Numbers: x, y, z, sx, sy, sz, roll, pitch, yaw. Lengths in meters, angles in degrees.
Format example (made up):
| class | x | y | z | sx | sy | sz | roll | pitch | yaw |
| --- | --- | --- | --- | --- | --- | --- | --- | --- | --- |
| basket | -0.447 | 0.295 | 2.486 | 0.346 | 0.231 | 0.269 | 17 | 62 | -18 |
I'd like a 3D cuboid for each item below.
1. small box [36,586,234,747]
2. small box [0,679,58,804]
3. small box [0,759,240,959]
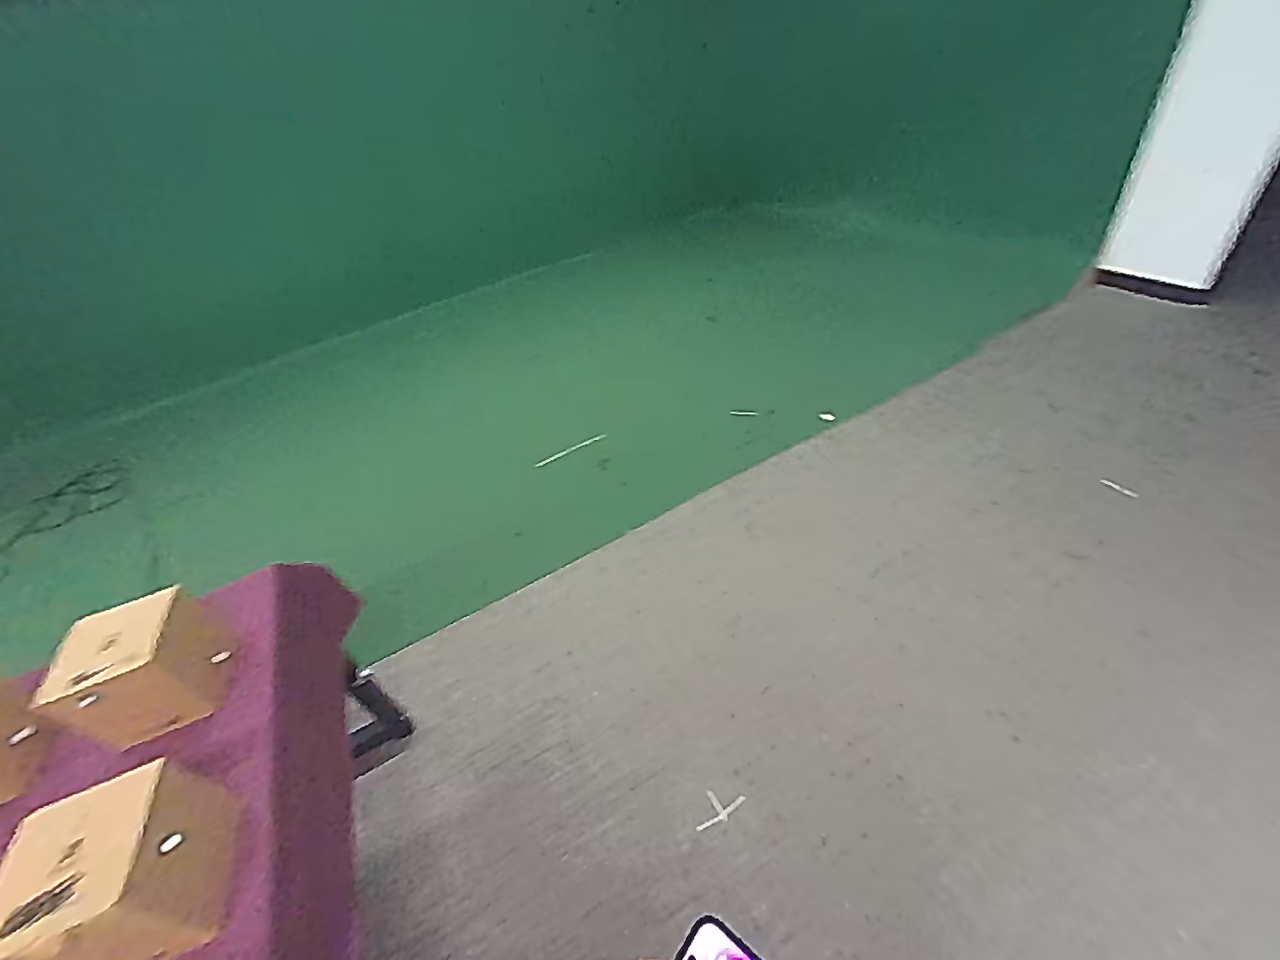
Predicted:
| class | x | y | z | sx | sy | sz | roll | pitch | yaw |
| --- | --- | --- | --- | --- | --- | --- | --- | --- | --- |
| small box | -0.858 | 0.325 | 0.946 | 0.168 | 0.176 | 0.179 | -21 | 41 | -9 |
| small box | -1.138 | 0.448 | 0.878 | 0.179 | 0.176 | 0.168 | -23 | 43 | -13 |
| small box | -0.657 | 0.505 | 0.692 | 0.168 | 0.176 | 0.179 | -22 | 41 | -10 |
